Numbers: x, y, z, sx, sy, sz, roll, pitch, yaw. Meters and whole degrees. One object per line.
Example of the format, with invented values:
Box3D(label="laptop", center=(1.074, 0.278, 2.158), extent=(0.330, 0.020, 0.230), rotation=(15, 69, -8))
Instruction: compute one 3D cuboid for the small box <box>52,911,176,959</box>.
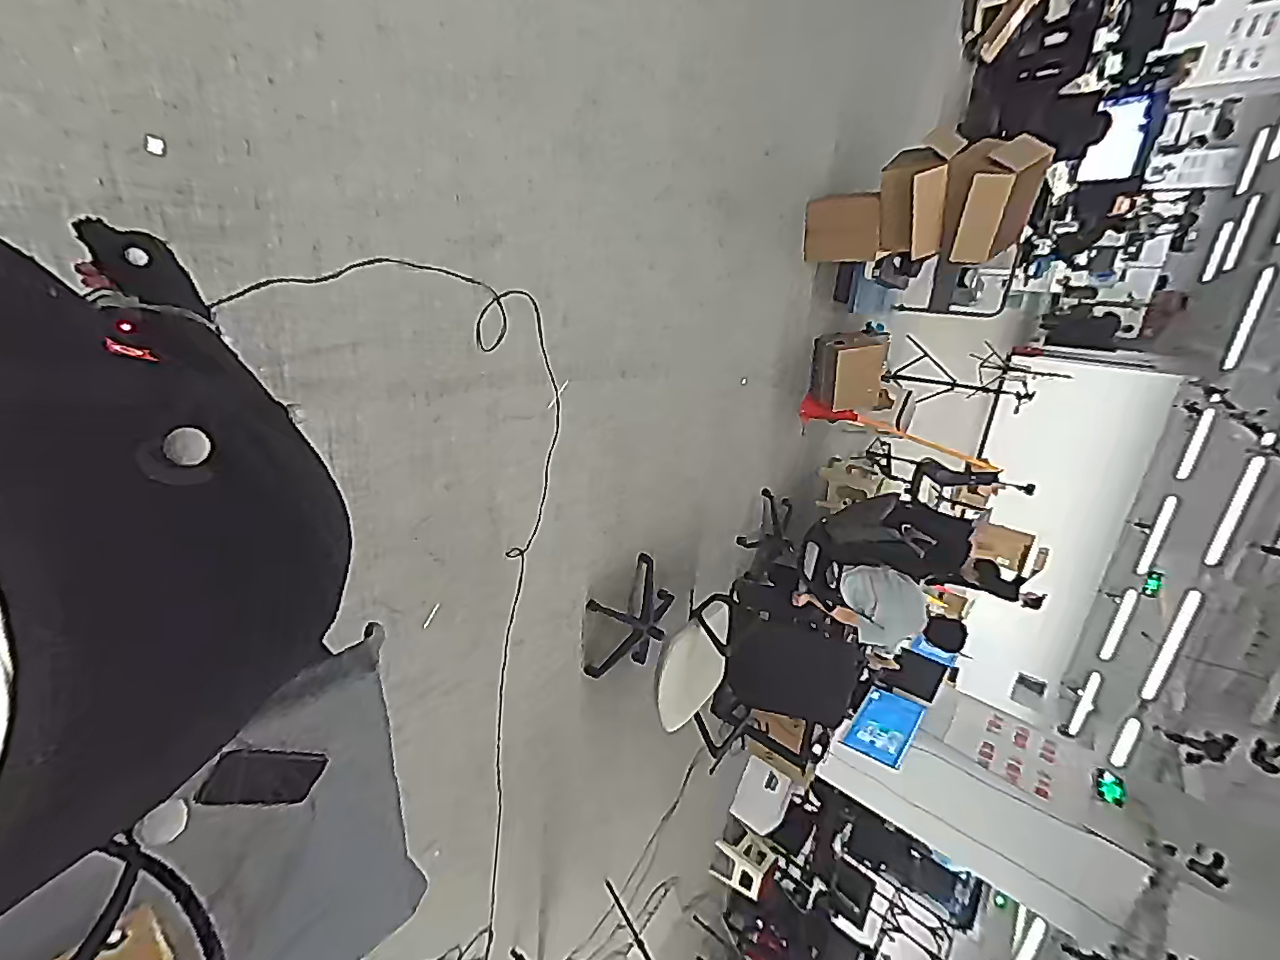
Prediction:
Box3D(label="small box", center=(-0.646, 0.669, 0.638), extent=(0.168, 0.176, 0.179), rotation=(-22, 124, -45))
